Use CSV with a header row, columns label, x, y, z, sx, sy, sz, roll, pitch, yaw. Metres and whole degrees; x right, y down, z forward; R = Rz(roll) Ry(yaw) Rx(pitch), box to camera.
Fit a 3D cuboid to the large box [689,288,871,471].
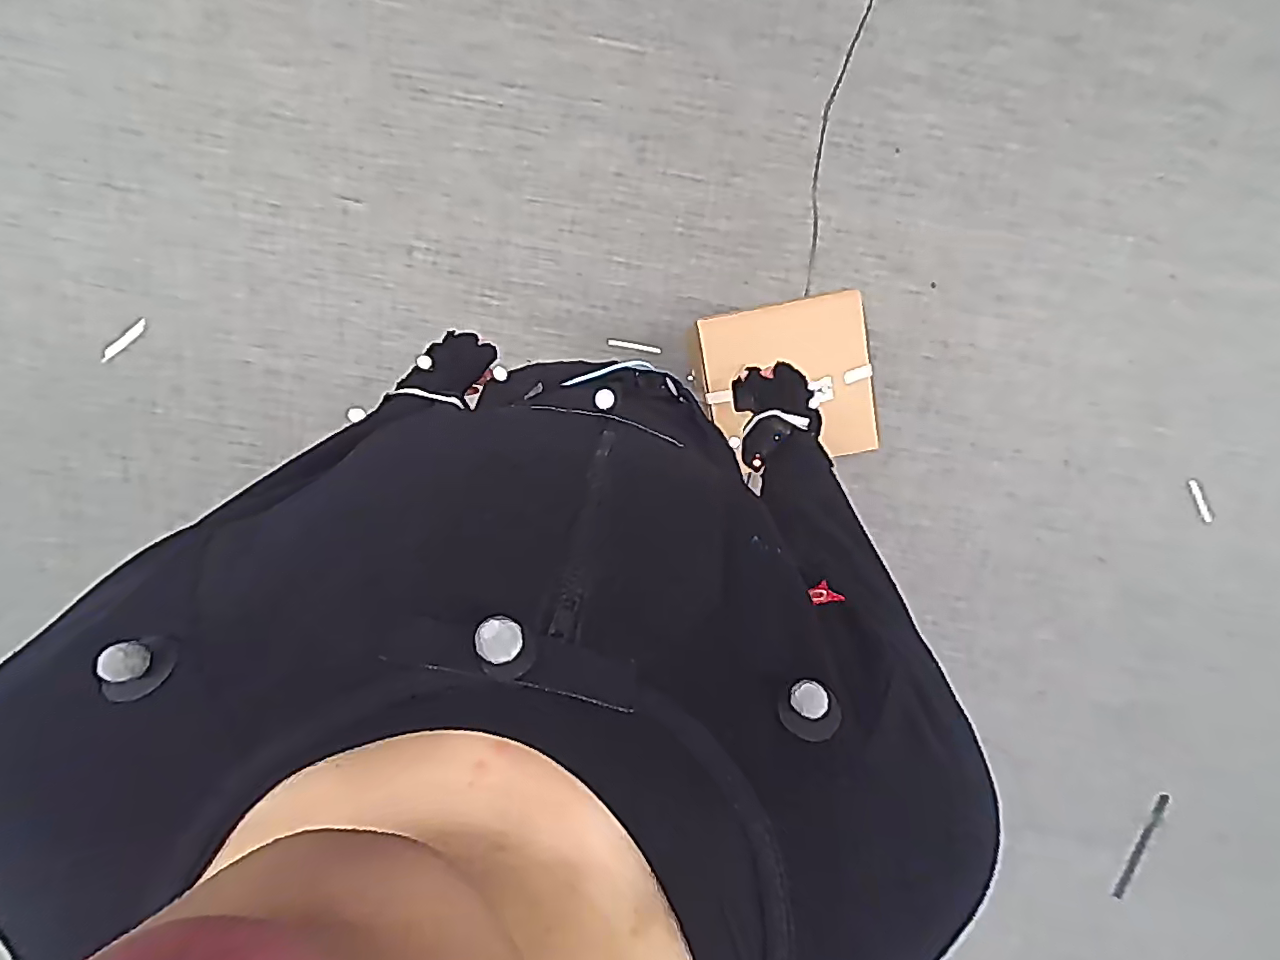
label,x,y,z,sx,sy,sz,roll,pitch,yaw
large box,0.295,-0.225,1.243,0.320,0.408,0.320,-9,100,5
